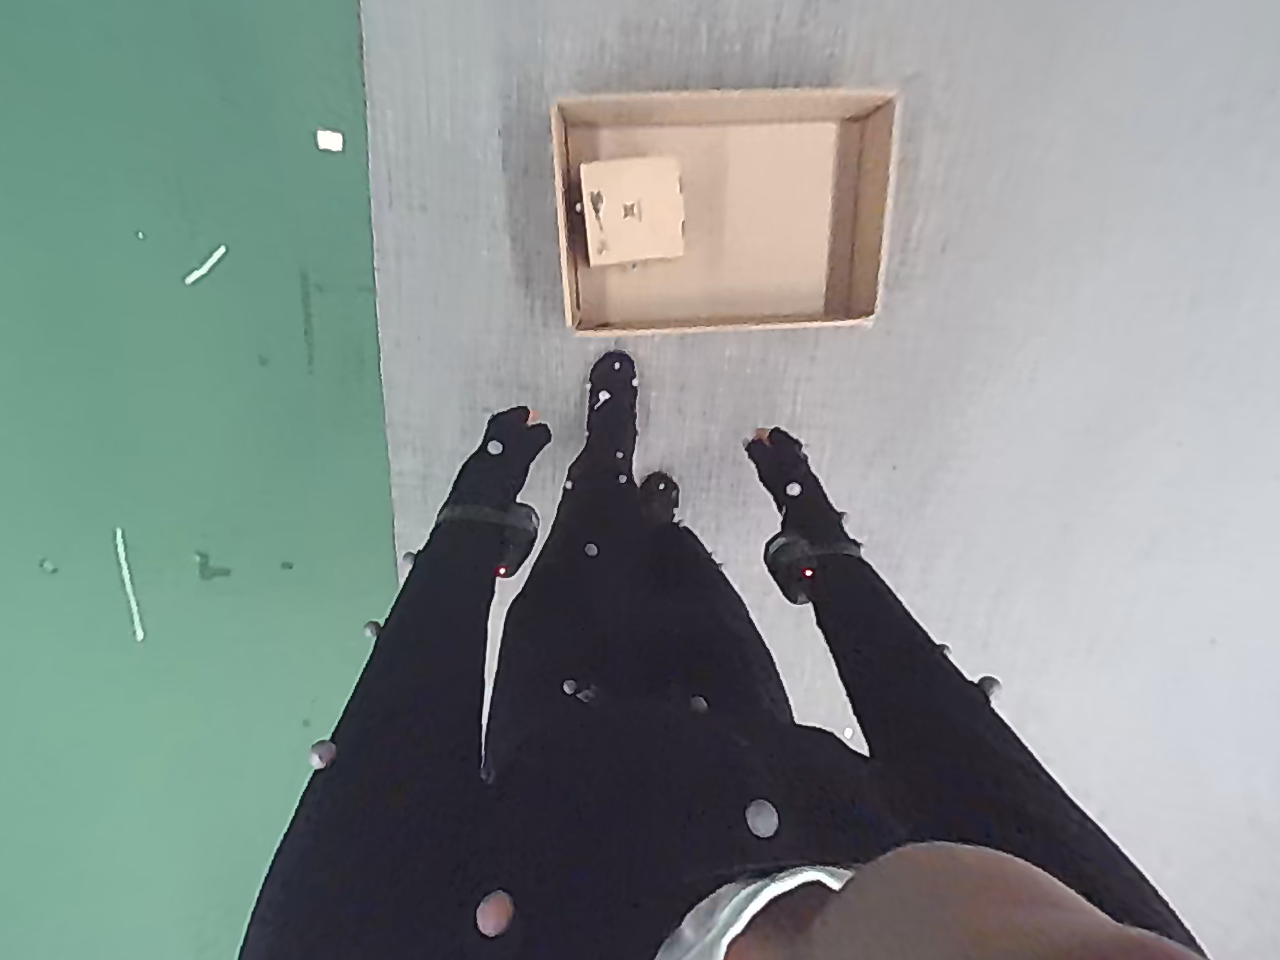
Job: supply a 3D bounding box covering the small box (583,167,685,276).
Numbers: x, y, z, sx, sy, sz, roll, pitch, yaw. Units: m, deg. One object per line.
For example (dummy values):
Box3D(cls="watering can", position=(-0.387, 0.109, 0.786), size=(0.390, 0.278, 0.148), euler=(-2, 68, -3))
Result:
Box3D(cls="small box", position=(-0.017, -0.491, 1.044), size=(0.179, 0.176, 0.168), euler=(-6, 108, -3))
